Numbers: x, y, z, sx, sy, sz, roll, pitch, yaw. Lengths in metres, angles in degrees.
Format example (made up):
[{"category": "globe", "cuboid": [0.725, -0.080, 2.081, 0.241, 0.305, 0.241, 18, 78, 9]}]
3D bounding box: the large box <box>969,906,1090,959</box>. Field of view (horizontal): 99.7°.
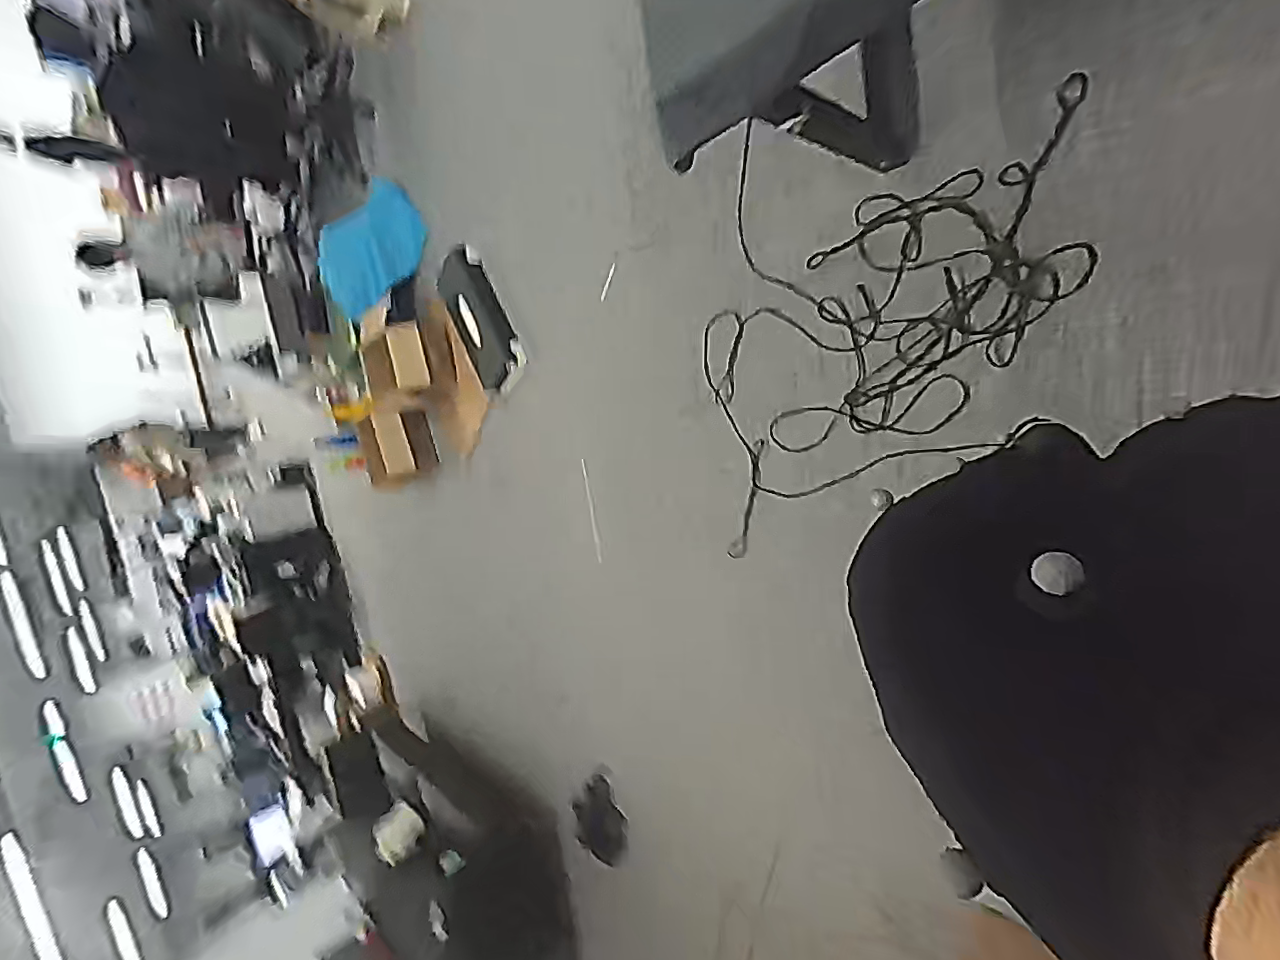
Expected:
[{"category": "large box", "cuboid": [0.958, 1.292, 1.194, 0.408, 0.320, 0.320, 7, 107, 47]}]
